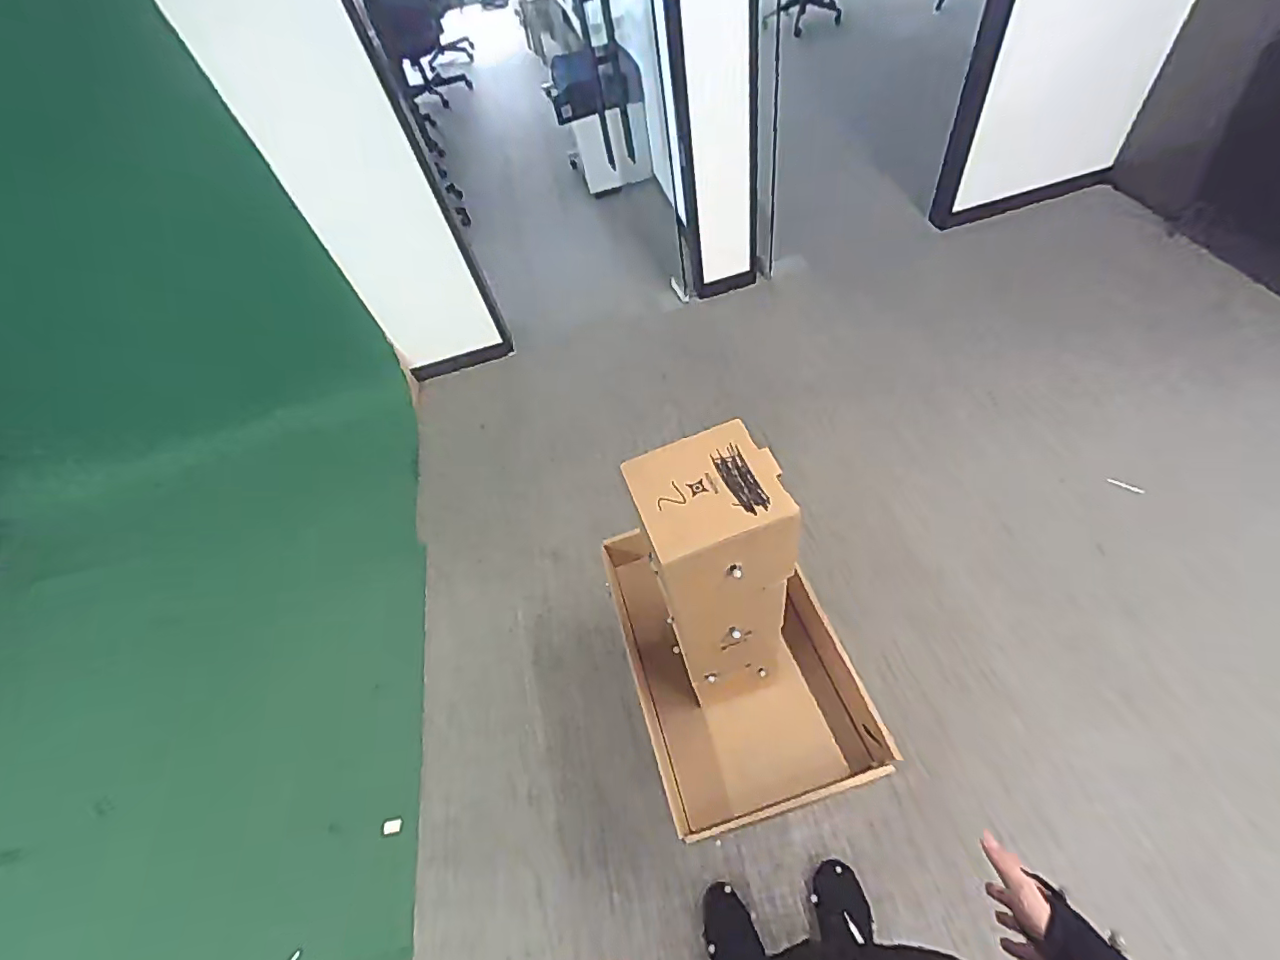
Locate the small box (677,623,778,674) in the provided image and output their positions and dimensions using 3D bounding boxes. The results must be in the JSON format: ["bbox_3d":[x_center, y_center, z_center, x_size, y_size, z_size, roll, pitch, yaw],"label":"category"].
[{"bbox_3d":[0.144,0.239,0.990,0.168,0.176,0.179,-16,51,-1],"label":"small box"}]

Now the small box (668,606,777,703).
[{"bbox_3d":[0.172,0.340,1.117,0.179,0.176,0.168,-18,52,-2],"label":"small box"}]

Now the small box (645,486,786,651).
[{"bbox_3d":[0.117,0.143,0.859,0.168,0.176,0.179,-18,52,-1],"label":"small box"}]
